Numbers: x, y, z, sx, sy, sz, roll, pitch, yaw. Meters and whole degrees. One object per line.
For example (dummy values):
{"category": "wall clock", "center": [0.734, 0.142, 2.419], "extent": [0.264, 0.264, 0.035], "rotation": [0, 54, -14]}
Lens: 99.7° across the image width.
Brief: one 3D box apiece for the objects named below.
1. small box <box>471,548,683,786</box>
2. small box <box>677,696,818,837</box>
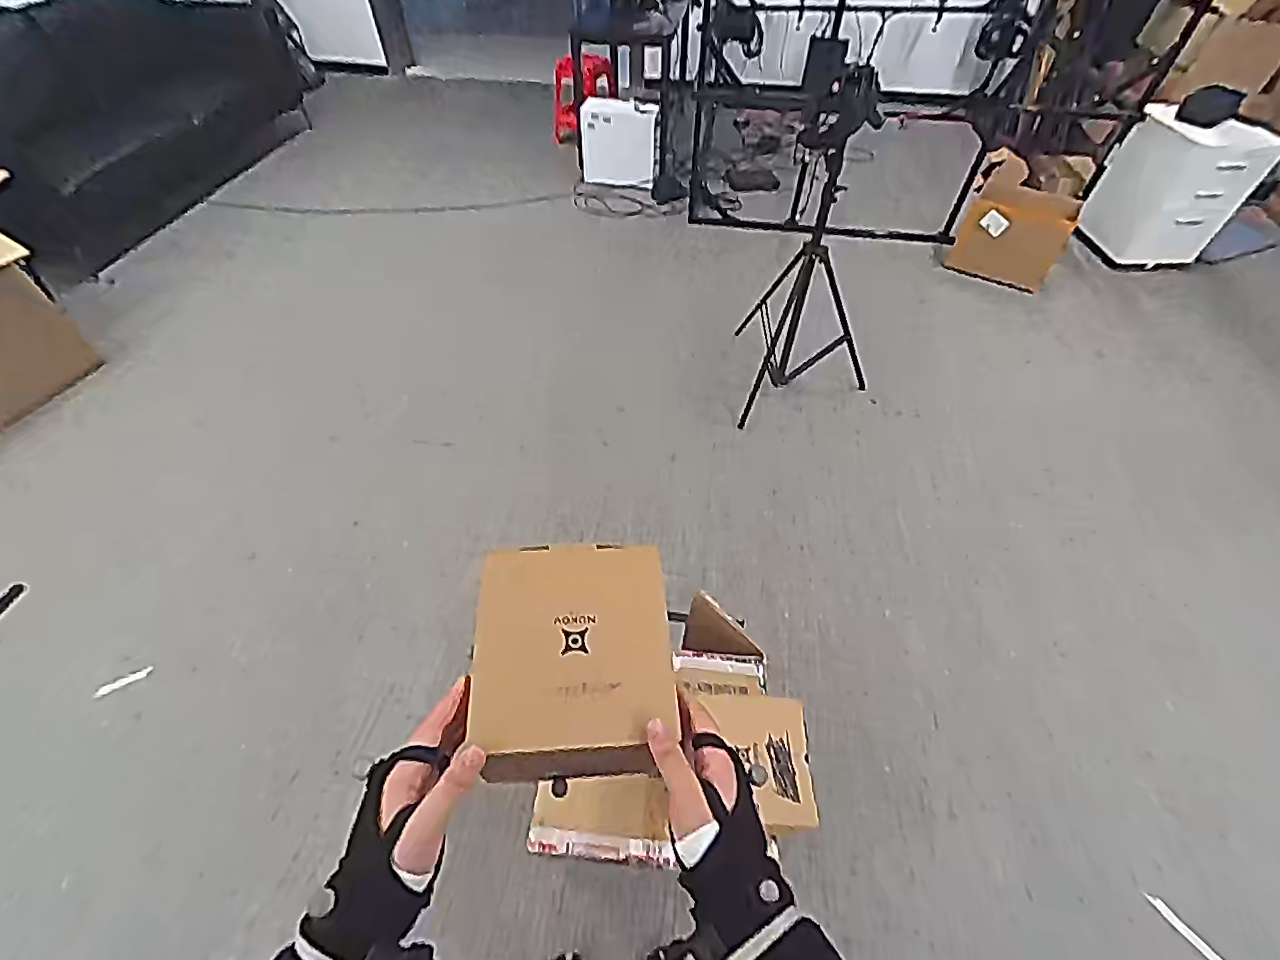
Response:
{"category": "small box", "center": [-0.063, 0.183, 0.526], "extent": [0.168, 0.176, 0.179], "rotation": [0, 55, -8]}
{"category": "small box", "center": [0.151, 0.442, 0.829], "extent": [0.179, 0.176, 0.168], "rotation": [2, 53, 0]}
